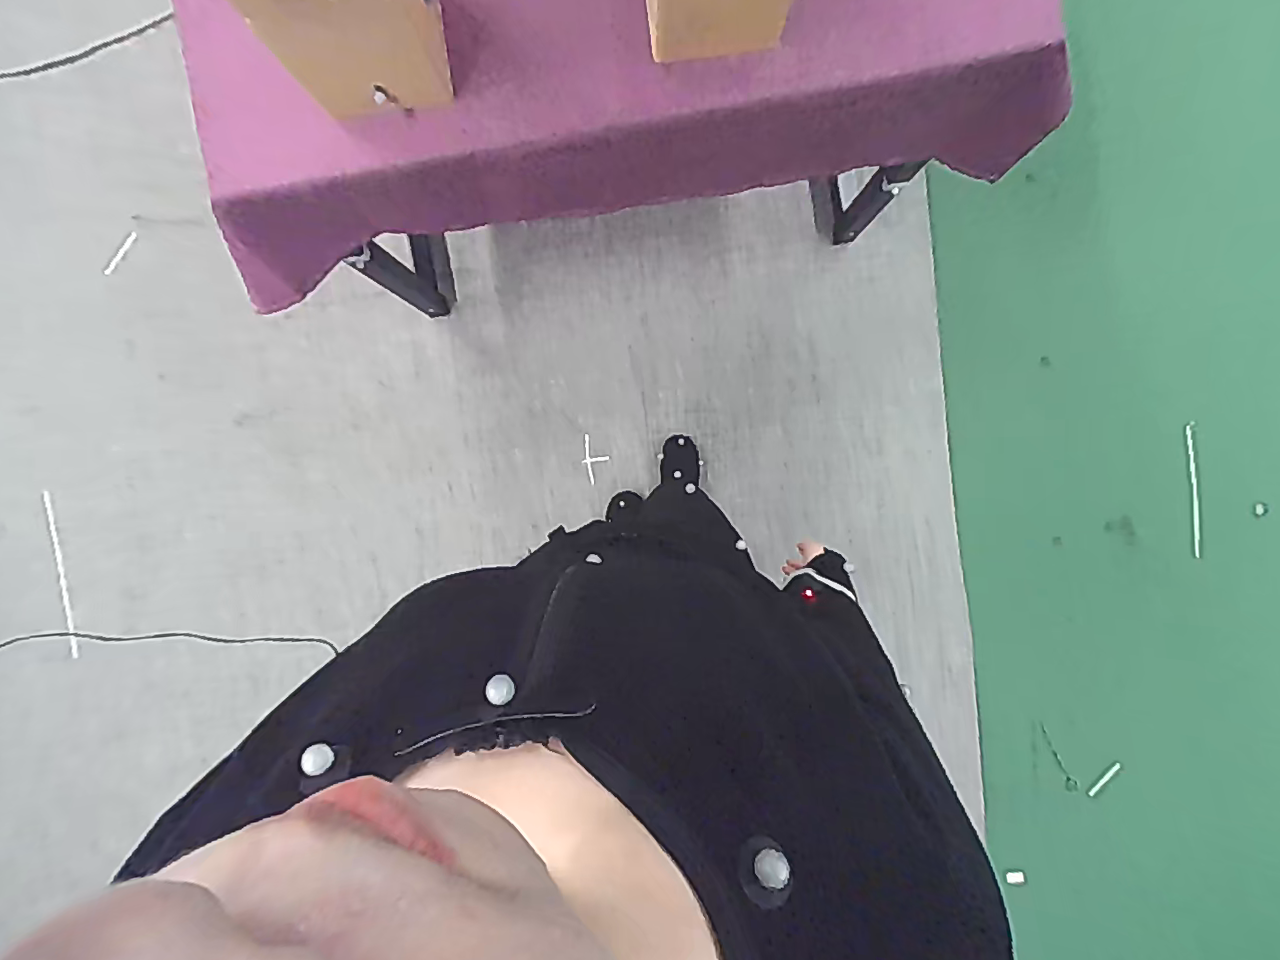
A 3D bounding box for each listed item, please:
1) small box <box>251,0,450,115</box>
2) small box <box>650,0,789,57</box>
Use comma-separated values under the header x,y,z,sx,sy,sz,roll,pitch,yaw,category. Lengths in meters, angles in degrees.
x,y,z,sx,sy,sz,roll,pitch,yaw,category
-0.351,-0.595,0.674,0.179,0.176,0.168,-8,92,1,small box
0.096,-0.665,0.664,0.179,0.176,0.168,-7,92,1,small box
